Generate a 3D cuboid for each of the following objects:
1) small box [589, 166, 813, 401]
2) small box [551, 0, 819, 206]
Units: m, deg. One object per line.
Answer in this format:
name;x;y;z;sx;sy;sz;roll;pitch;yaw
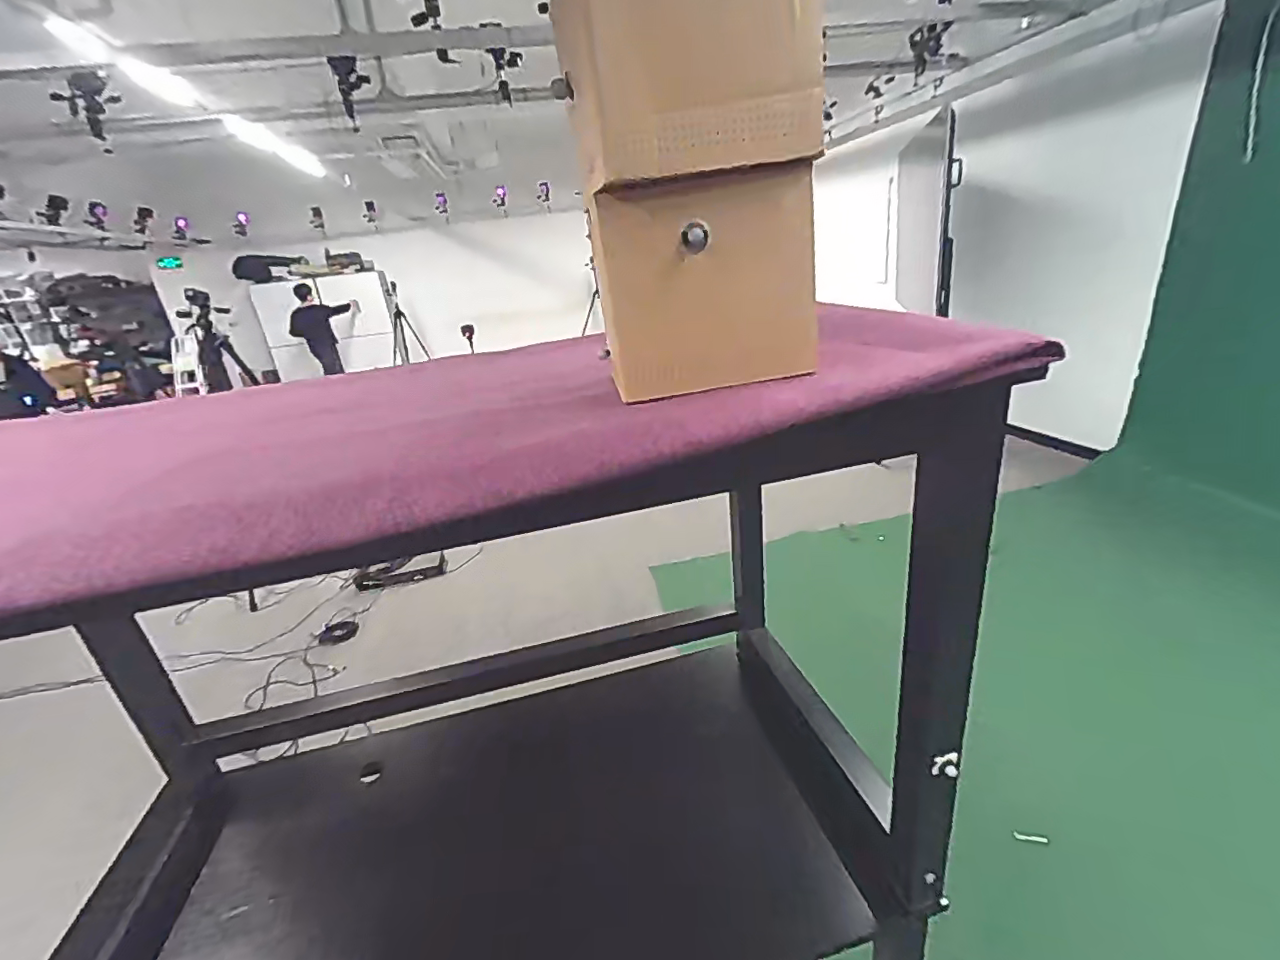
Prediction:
small box;0.052;-0.179;0.517;0.179;0.176;0.168;-9;21;-4
small box;0.031;-0.323;0.444;0.179;0.176;0.168;-11;21;-7
